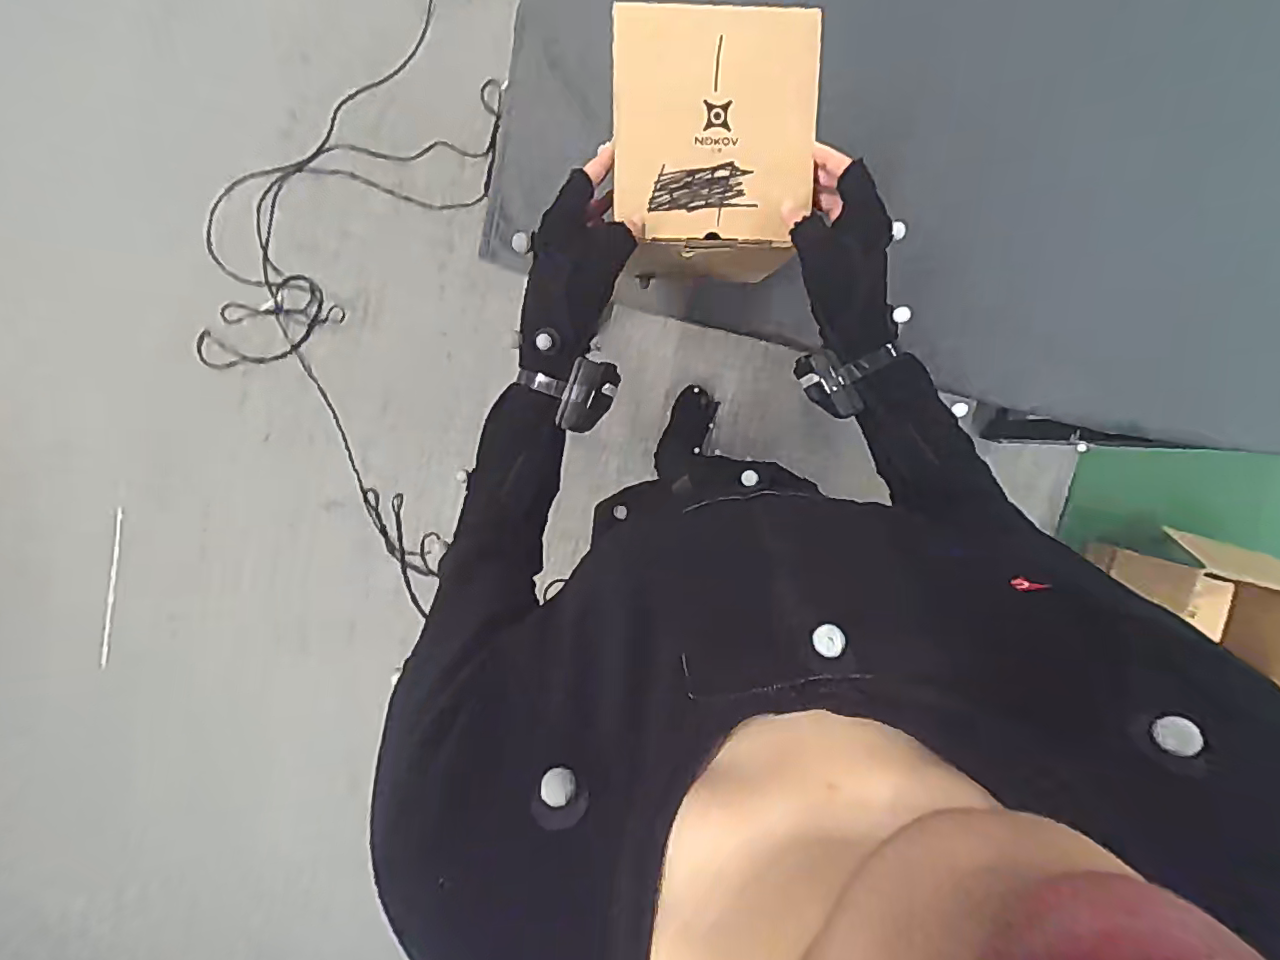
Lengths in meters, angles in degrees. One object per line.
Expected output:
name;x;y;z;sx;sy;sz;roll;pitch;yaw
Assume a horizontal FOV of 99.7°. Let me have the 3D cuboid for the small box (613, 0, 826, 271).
small box;0.060;-0.305;0.513;0.168;0.176;0.179;0;100;-2
